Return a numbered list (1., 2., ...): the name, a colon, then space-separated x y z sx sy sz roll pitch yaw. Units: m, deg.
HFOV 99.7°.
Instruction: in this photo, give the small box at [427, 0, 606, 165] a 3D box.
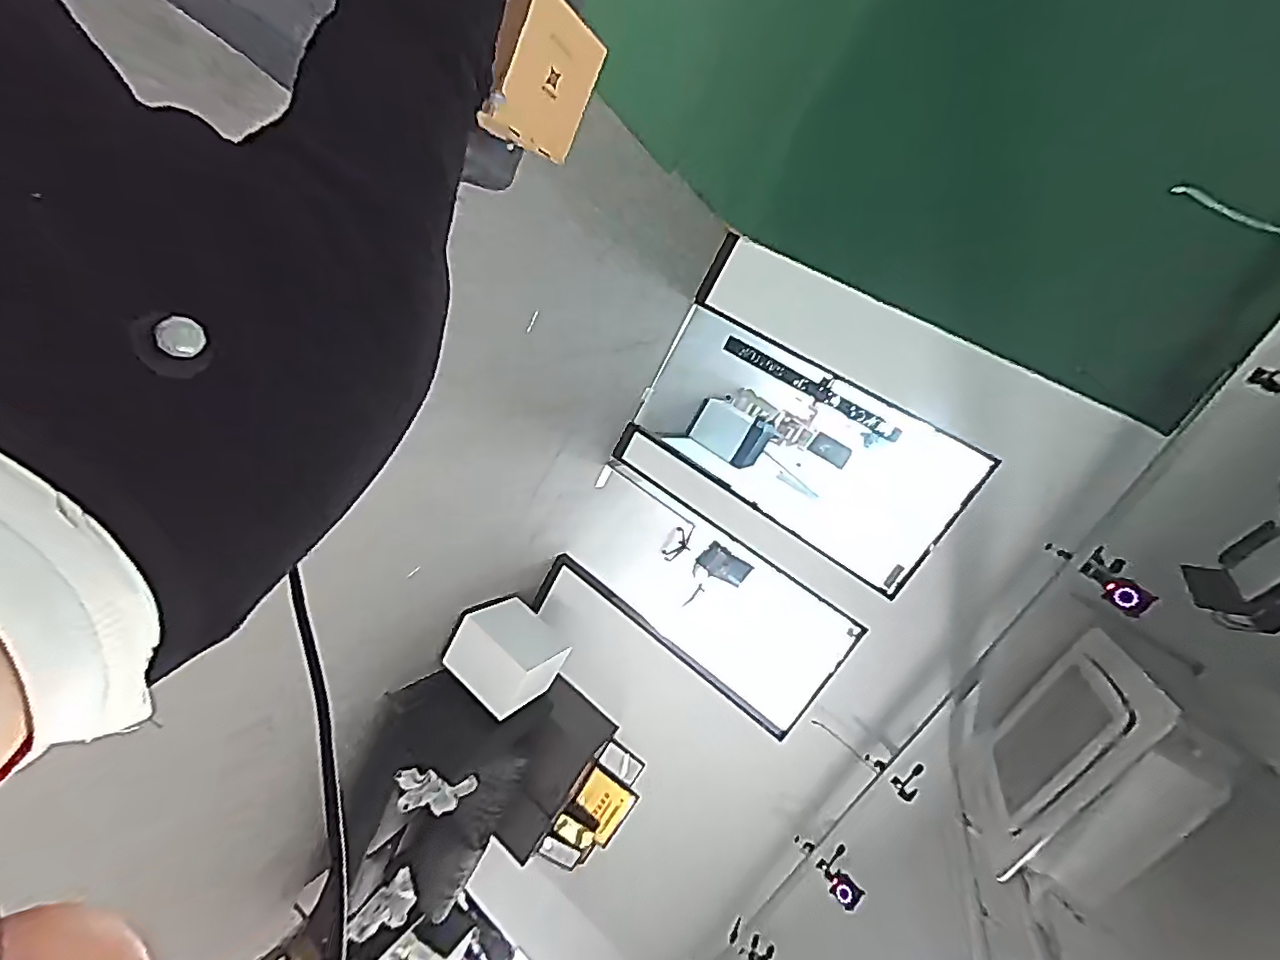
1. small box: -0.188 -0.622 0.813 0.168 0.176 0.179 -12 133 -62
